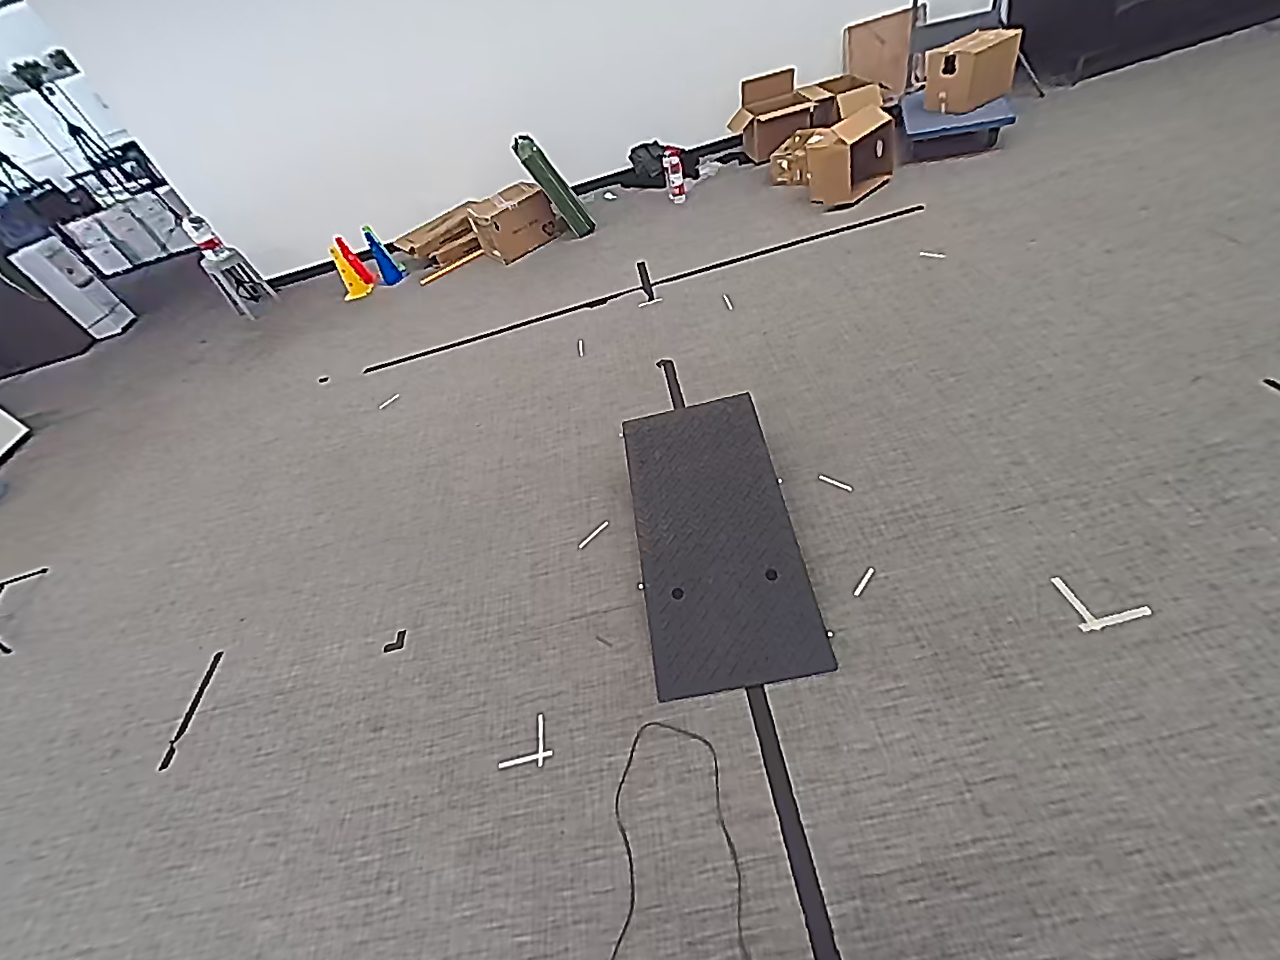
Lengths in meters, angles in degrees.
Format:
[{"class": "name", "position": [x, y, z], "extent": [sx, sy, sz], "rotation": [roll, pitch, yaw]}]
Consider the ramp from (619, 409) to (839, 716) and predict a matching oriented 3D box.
[{"class": "ramp", "position": [0.231, 0.194, 1.750], "extent": [0.509, 0.206, 0.991], "rotation": [-15, 44, 4]}]
